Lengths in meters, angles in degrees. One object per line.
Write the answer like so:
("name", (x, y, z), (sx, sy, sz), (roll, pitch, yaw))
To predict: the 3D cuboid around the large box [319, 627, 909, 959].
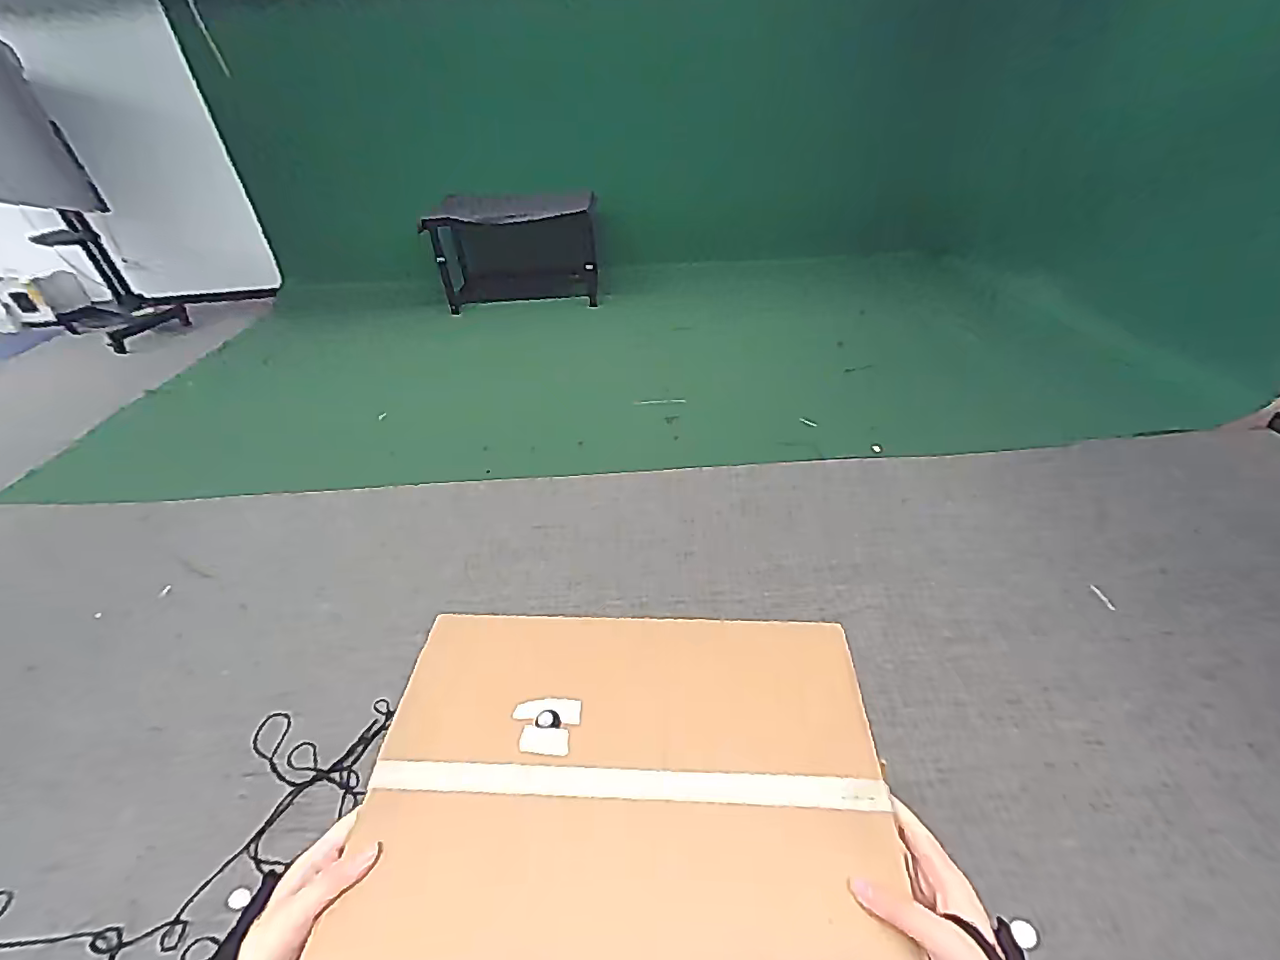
("large box", (-0.004, 0.363, 0.533), (0.408, 0.320, 0.320), (-1, 41, 6))
